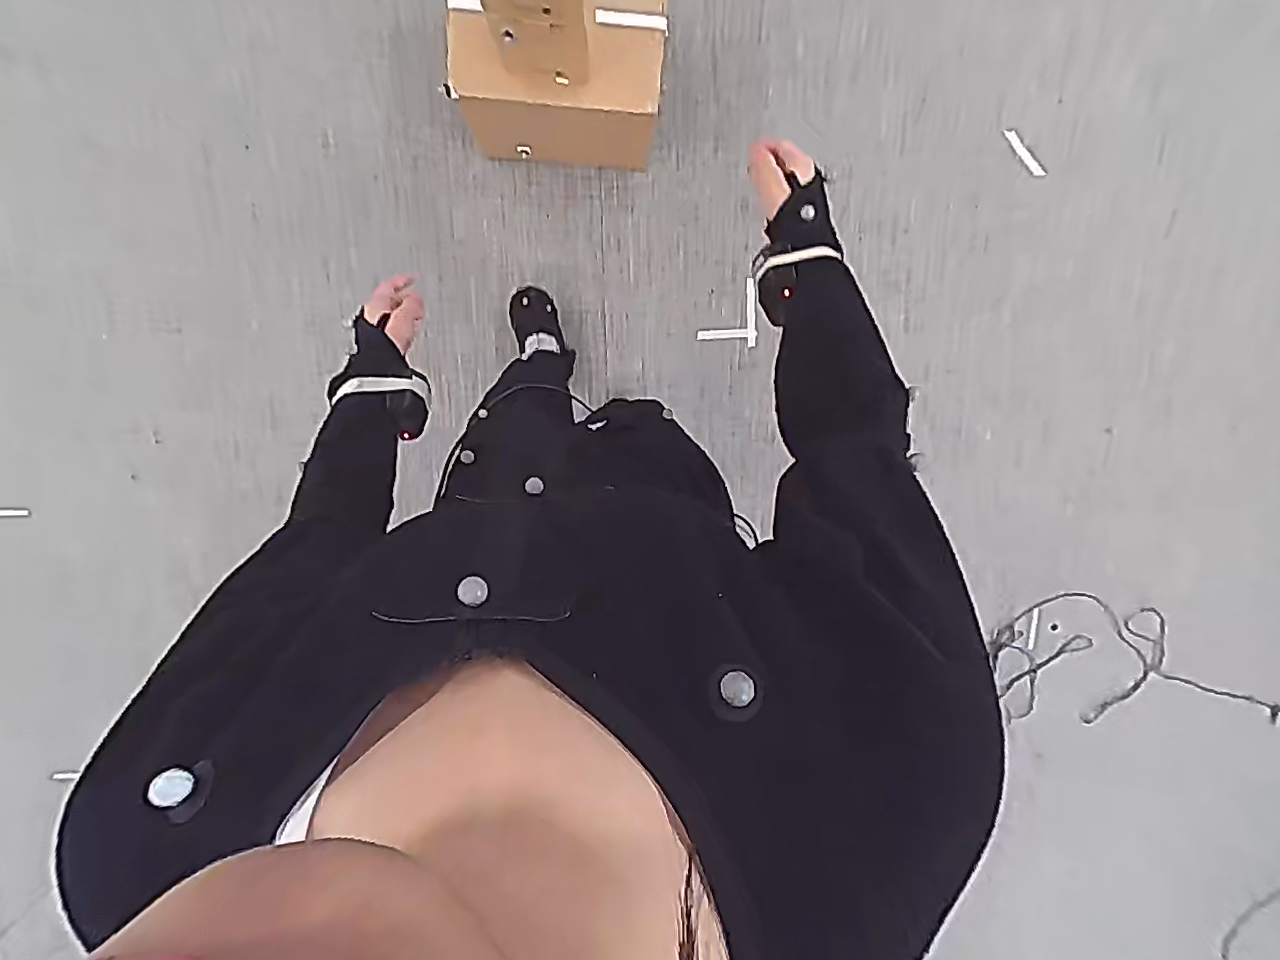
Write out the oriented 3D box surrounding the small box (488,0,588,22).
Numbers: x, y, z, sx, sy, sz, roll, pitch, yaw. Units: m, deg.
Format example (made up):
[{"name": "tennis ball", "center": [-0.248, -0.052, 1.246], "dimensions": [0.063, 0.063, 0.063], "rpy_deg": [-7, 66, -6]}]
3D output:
[{"name": "small box", "center": [-0.157, -0.806, 0.772], "dimensions": [0.168, 0.176, 0.179], "rpy_deg": [4, 101, -4]}]
